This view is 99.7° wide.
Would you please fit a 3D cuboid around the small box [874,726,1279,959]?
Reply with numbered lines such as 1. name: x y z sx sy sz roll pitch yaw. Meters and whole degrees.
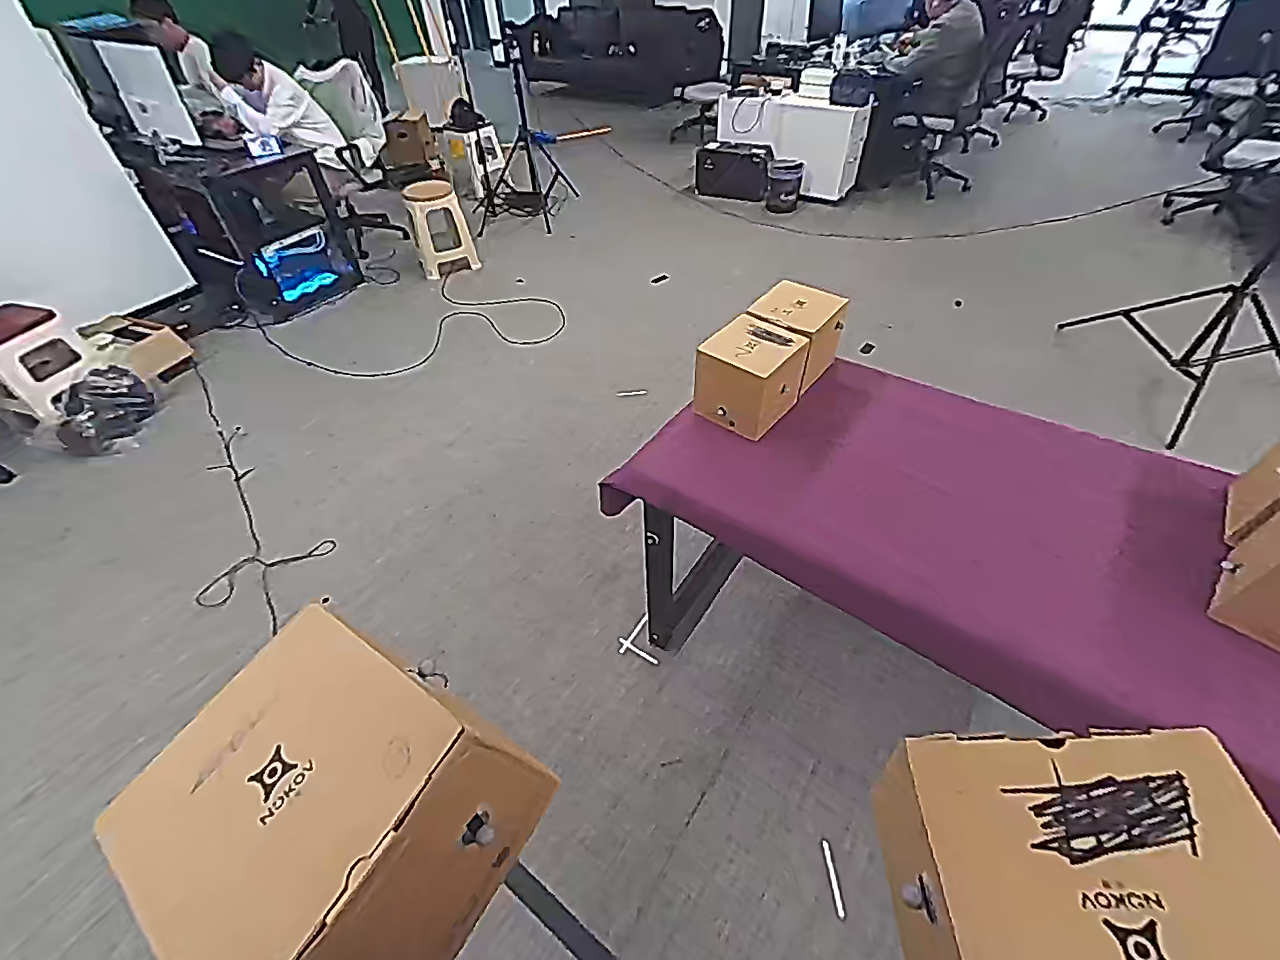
1. small box: 0.254 0.266 0.326 0.168 0.176 0.179 -7 50 9

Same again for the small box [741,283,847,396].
1. small box: 0.349 -0.328 1.258 0.168 0.176 0.179 30 54 27

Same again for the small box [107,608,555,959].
1. small box: -0.188 0.225 0.377 0.179 0.176 0.168 20 59 29

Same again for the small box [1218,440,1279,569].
1. small box: 1.098 0.041 0.873 0.168 0.176 0.179 30 53 27
